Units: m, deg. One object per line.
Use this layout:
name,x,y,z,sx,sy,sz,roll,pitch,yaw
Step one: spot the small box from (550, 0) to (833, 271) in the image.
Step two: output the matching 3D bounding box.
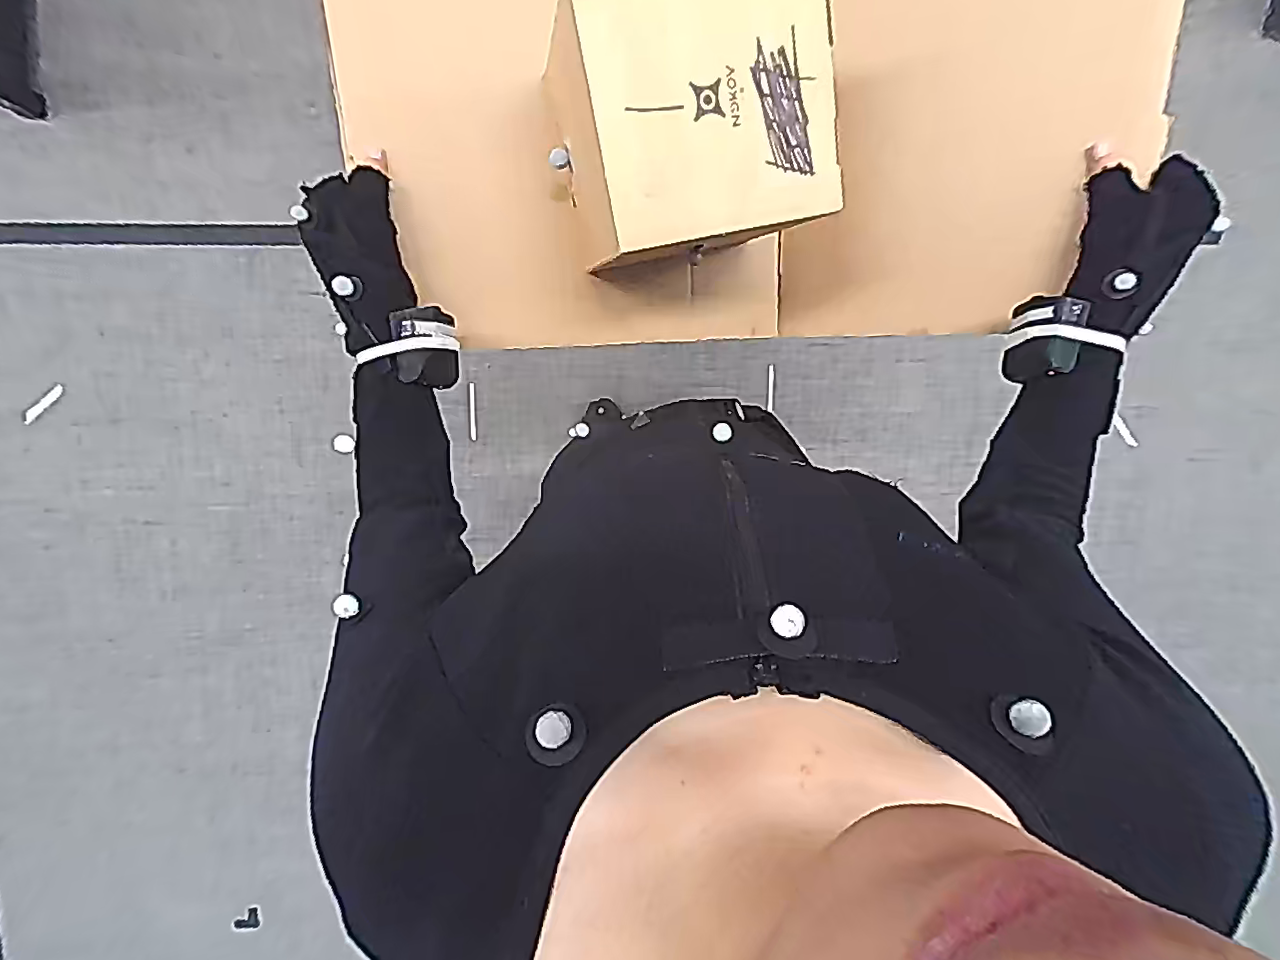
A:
small box,0.033,-0.278,0.448,0.179,0.176,0.168,-15,109,-9
